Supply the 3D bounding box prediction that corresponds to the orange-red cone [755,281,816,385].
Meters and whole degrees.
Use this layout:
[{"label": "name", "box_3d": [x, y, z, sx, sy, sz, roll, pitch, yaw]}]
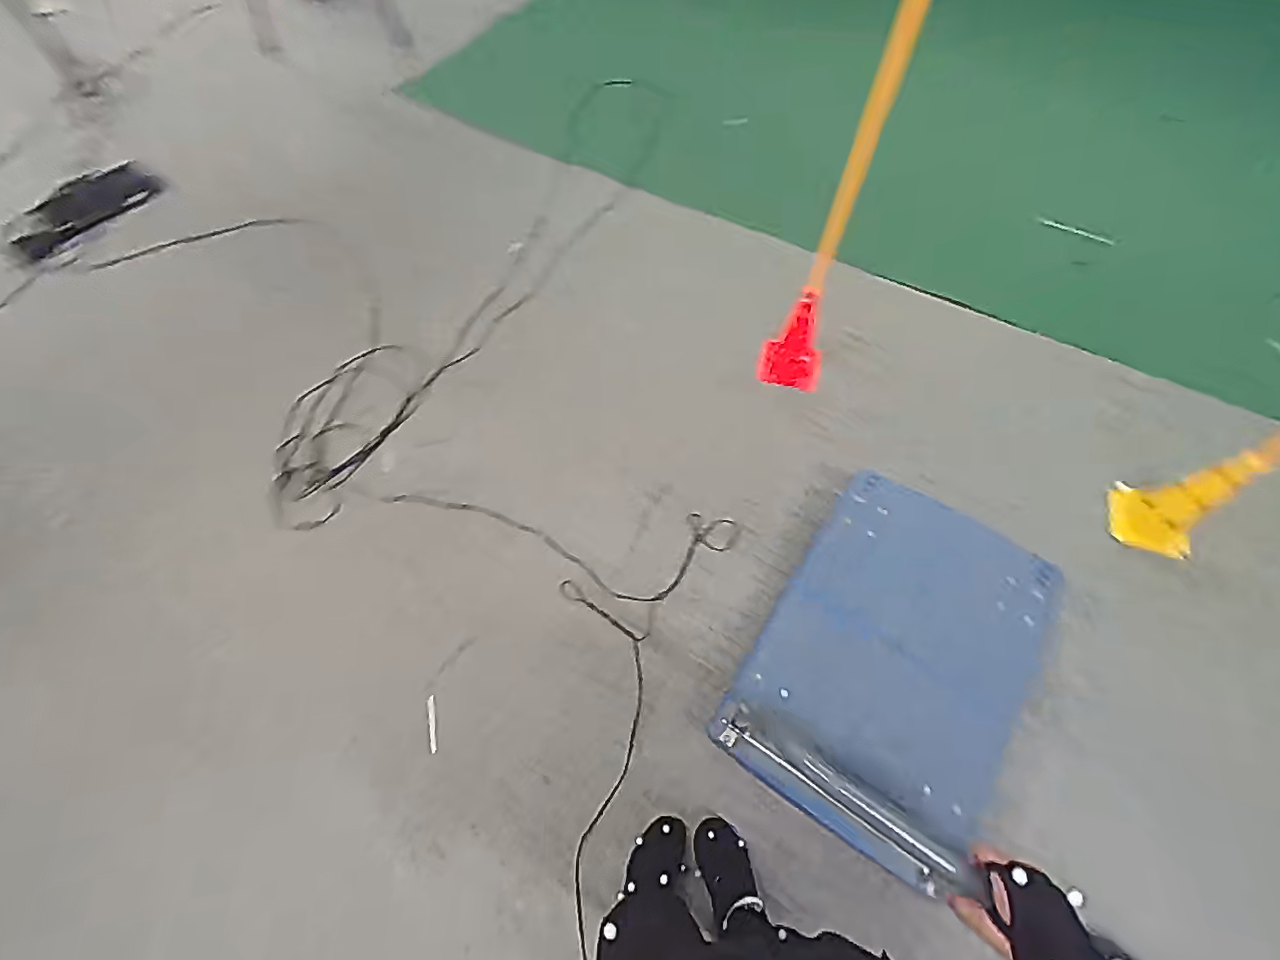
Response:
[{"label": "orange-red cone", "box_3d": [0.522, -0.515, 1.819, 0.199, 0.360, 0.198, 14, 63, 11]}]
